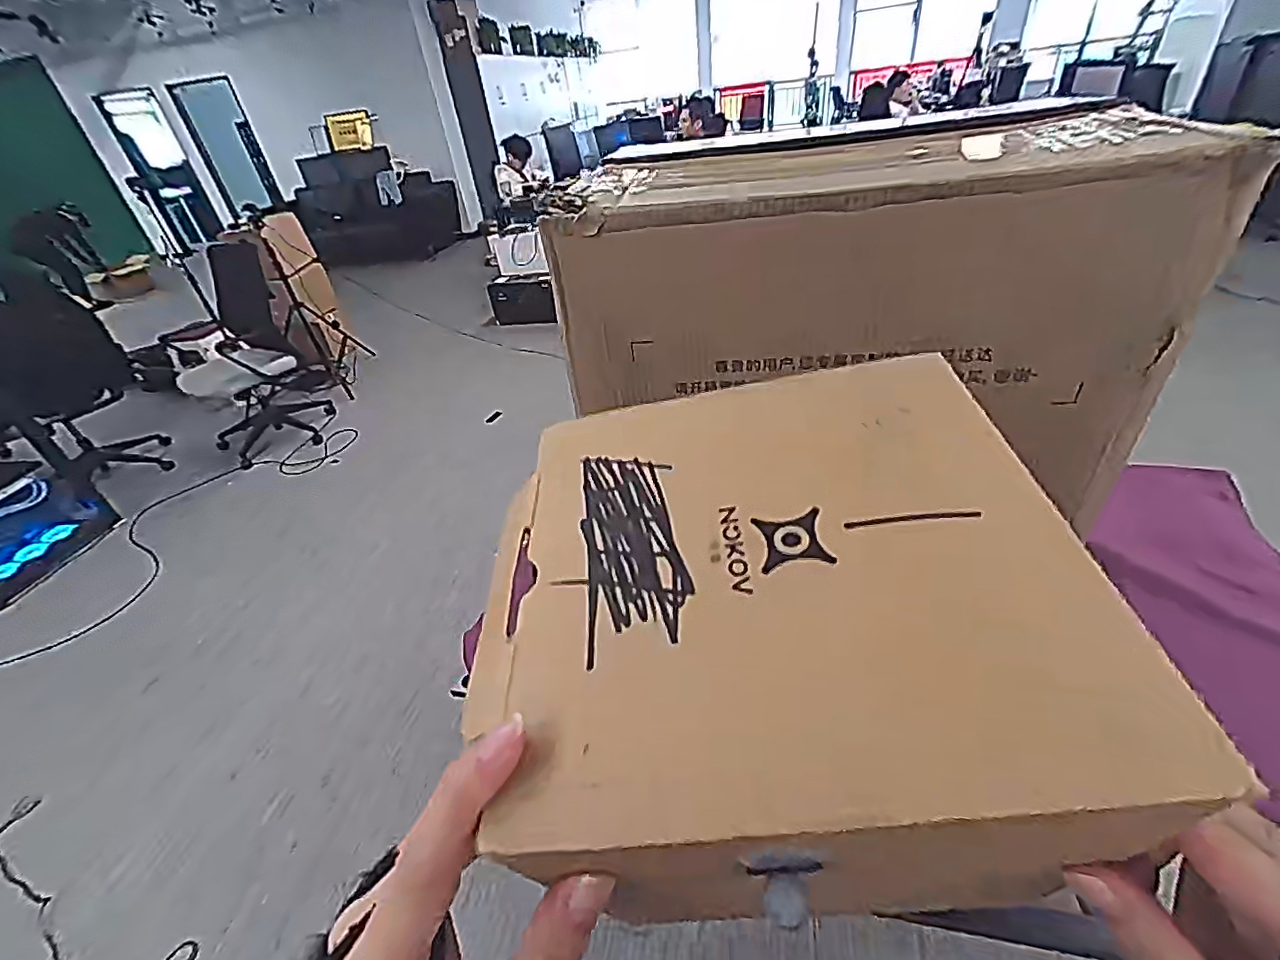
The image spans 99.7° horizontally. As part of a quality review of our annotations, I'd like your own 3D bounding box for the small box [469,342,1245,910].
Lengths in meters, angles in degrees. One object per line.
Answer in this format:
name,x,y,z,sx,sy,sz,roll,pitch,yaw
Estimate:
small box,0.057,0.070,0.233,0.179,0.176,0.168,-9,46,8
